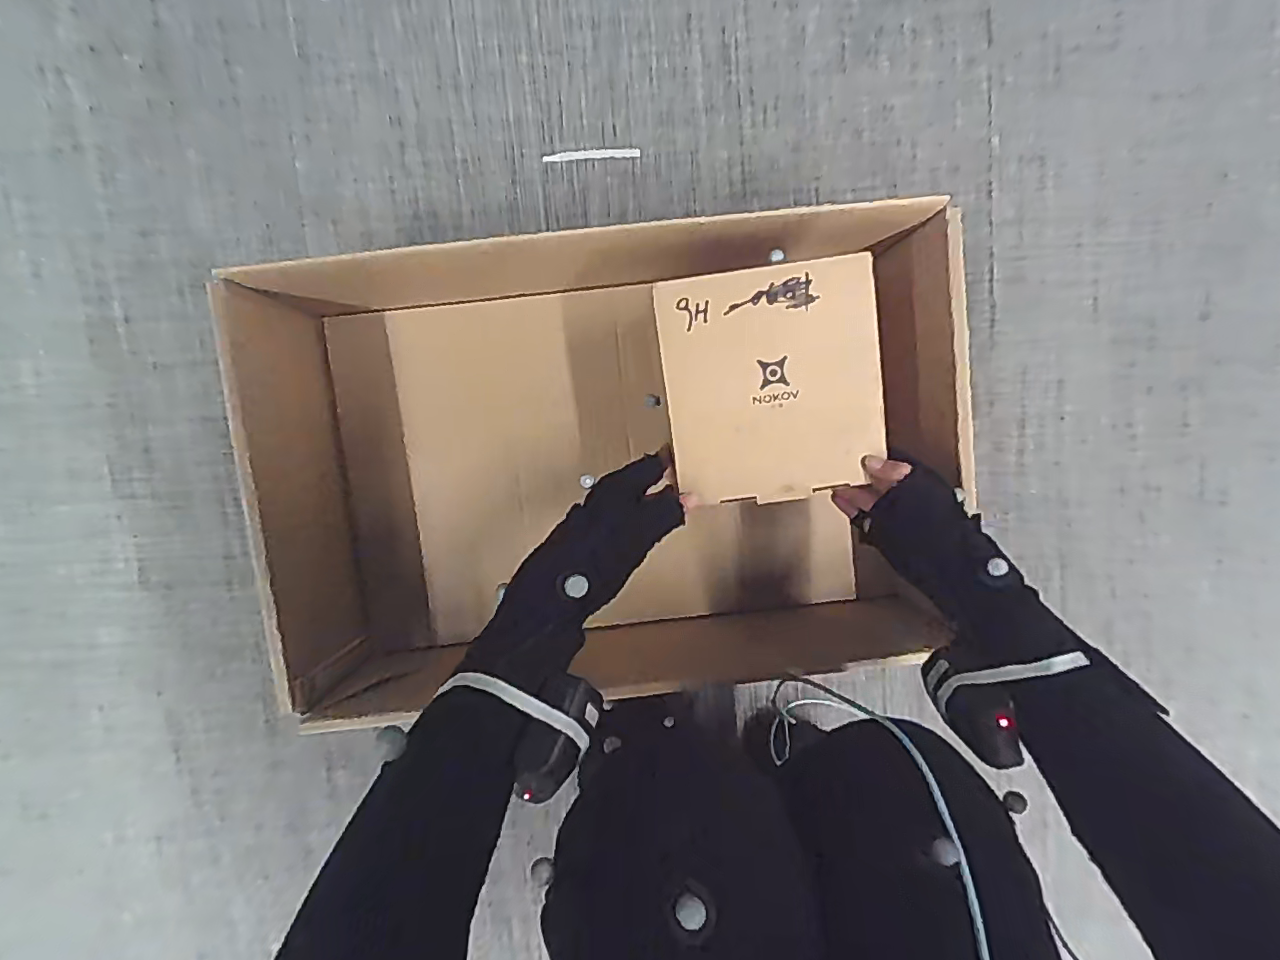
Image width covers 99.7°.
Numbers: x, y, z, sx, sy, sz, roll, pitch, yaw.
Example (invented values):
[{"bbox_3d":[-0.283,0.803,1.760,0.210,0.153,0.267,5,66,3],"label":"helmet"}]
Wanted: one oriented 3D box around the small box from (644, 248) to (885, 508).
[{"bbox_3d":[0.099,-0.086,0.492,0.168,0.176,0.179,-10,98,2],"label":"small box"}]
